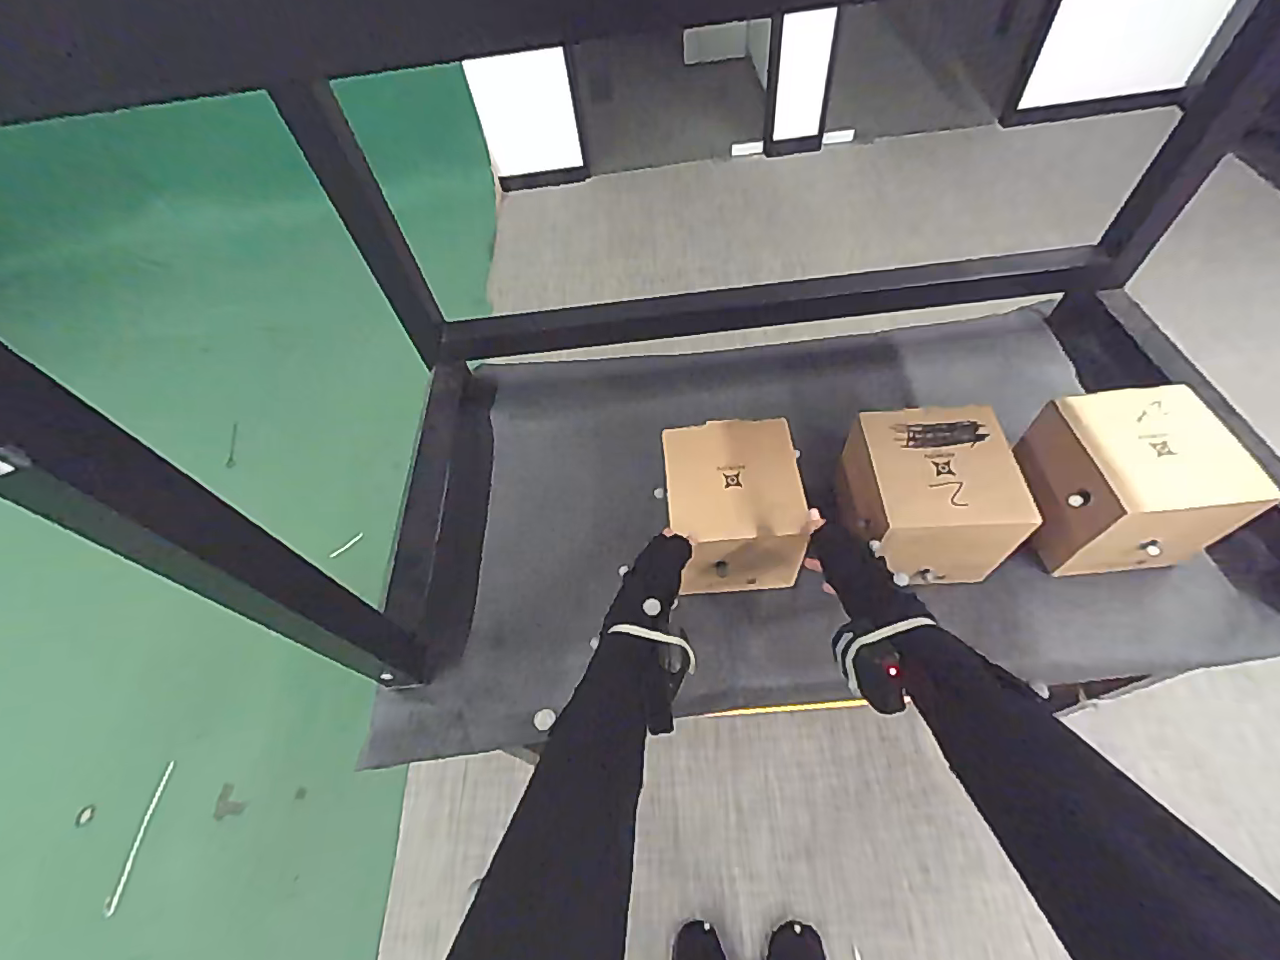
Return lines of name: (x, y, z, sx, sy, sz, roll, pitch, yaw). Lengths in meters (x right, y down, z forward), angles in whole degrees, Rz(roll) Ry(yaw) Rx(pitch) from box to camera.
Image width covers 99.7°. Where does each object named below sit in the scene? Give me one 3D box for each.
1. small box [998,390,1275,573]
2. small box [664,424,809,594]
small box: (0.615, 0.011, 0.703, 0.168, 0.176, 0.179, -6, 54, 3)
small box: (0.124, 0.048, 0.744, 0.168, 0.176, 0.179, -5, 56, 4)
